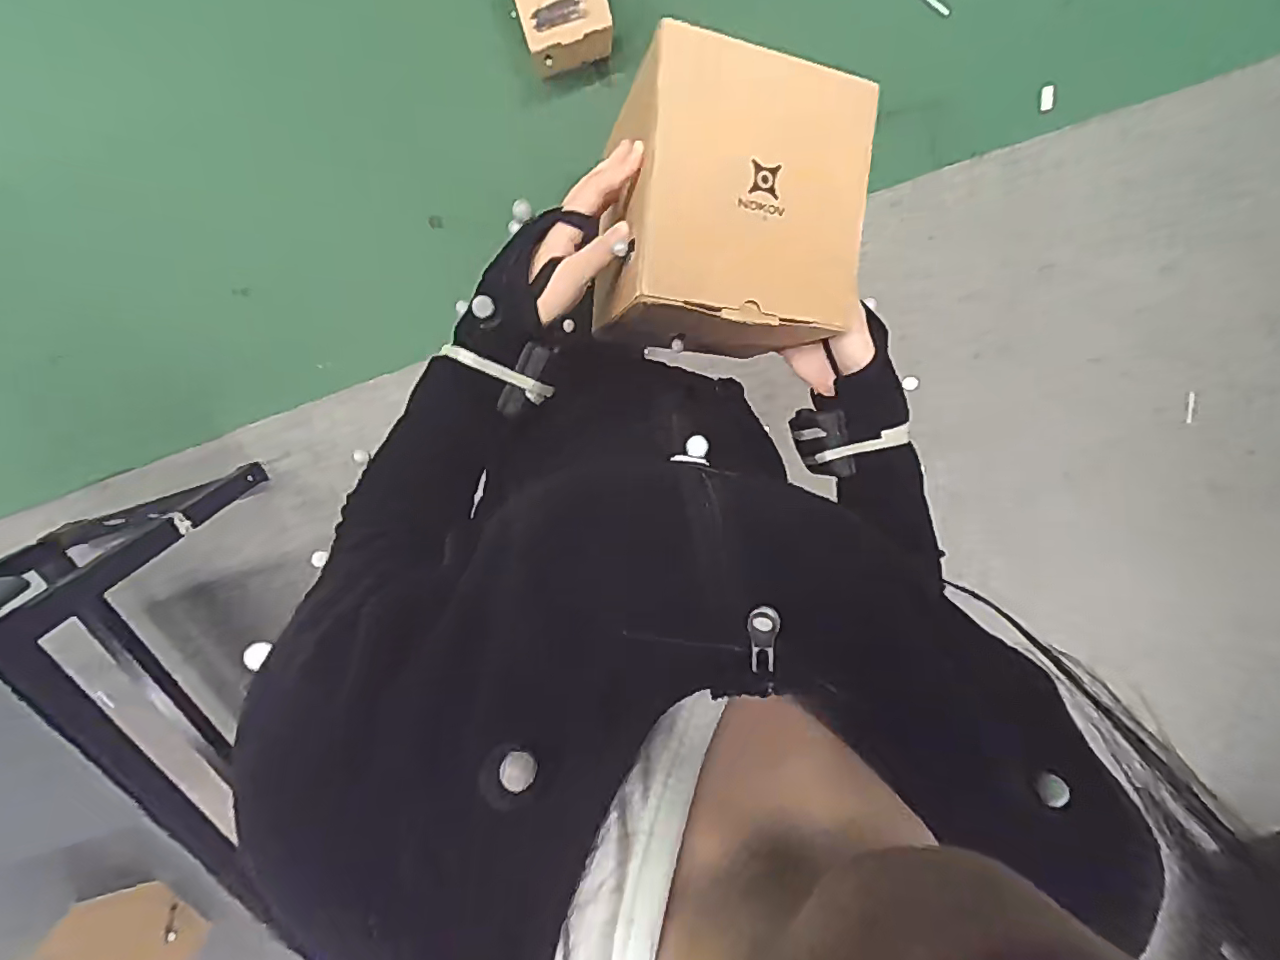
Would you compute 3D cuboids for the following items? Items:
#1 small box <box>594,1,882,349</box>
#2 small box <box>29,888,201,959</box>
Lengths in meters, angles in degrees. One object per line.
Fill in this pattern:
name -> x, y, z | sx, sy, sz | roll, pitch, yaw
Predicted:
small box -> 0.062, -0.214, 0.439 | 0.168, 0.176, 0.179 | 4, 96, -16
small box -> -0.933, 0.859, 0.938 | 0.179, 0.176, 0.168 | -17, 114, 2
